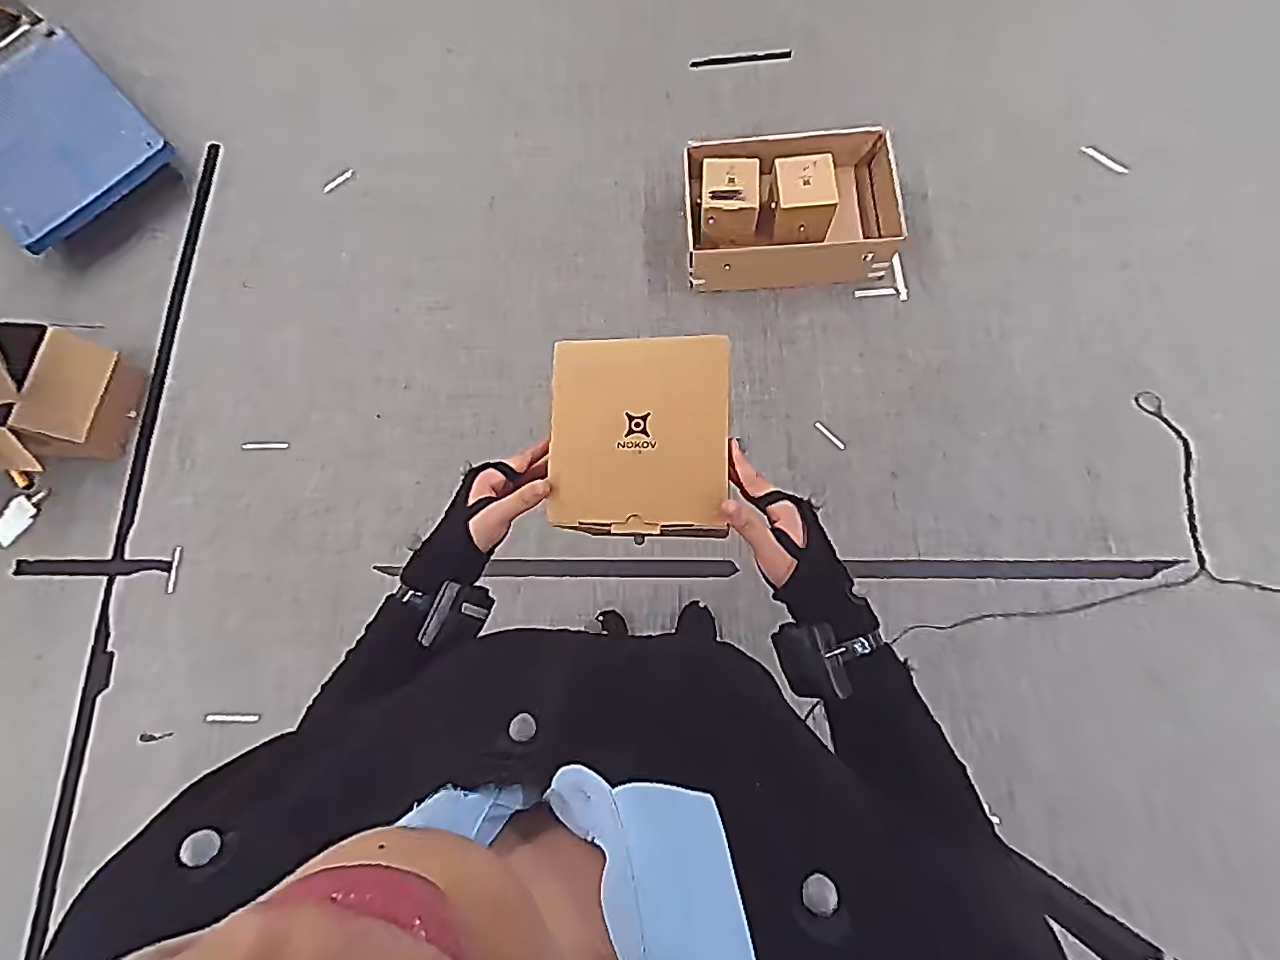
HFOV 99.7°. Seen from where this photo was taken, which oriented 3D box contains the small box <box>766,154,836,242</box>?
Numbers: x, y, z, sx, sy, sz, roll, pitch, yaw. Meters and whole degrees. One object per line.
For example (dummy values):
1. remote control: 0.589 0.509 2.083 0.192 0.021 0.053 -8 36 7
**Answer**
1. small box: 0.484 -0.847 1.644 0.168 0.176 0.179 -3 76 3
